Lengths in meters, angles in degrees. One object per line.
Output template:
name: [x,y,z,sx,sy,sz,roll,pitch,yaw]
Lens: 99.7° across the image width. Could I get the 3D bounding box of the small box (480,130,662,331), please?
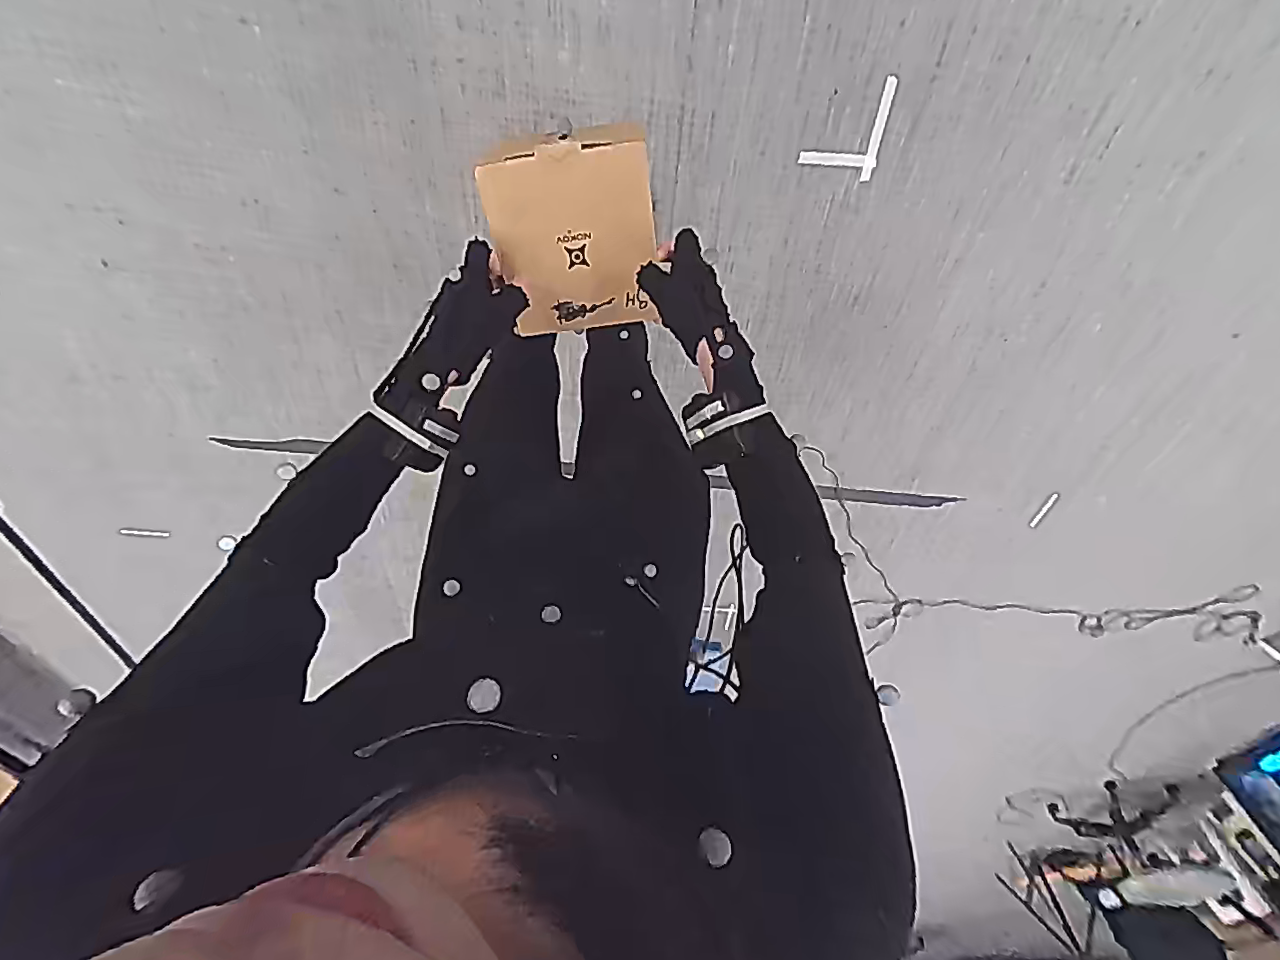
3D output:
small box: [-0.068,-0.292,0.624,0.168,0.176,0.179,-6,126,2]
